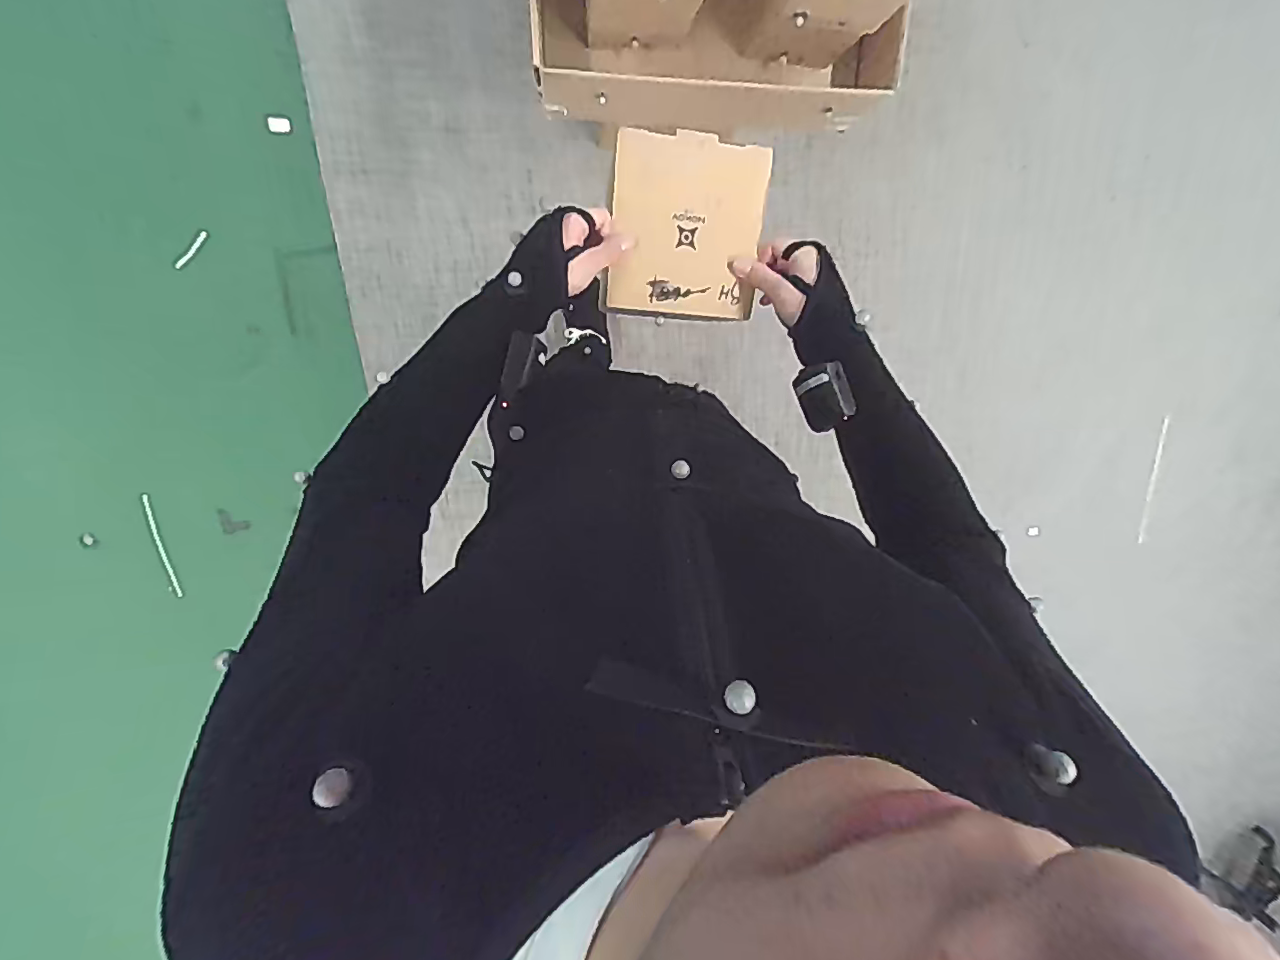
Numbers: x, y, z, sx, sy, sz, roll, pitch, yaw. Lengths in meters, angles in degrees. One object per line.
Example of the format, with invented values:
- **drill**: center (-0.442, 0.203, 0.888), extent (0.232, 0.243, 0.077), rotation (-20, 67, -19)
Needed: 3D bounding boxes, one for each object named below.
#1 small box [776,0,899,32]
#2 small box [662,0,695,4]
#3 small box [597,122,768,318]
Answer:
- **small box**: center (0.299, -0.766, 0.748), extent (0.168, 0.176, 0.179), rotation (1, 106, -7)
- **small box**: center (0.018, -0.769, 0.708), extent (0.168, 0.176, 0.179), rotation (-3, 109, -7)
- **small box**: center (0.037, -0.294, 0.650), extent (0.168, 0.176, 0.179), rotation (3, 106, -7)
